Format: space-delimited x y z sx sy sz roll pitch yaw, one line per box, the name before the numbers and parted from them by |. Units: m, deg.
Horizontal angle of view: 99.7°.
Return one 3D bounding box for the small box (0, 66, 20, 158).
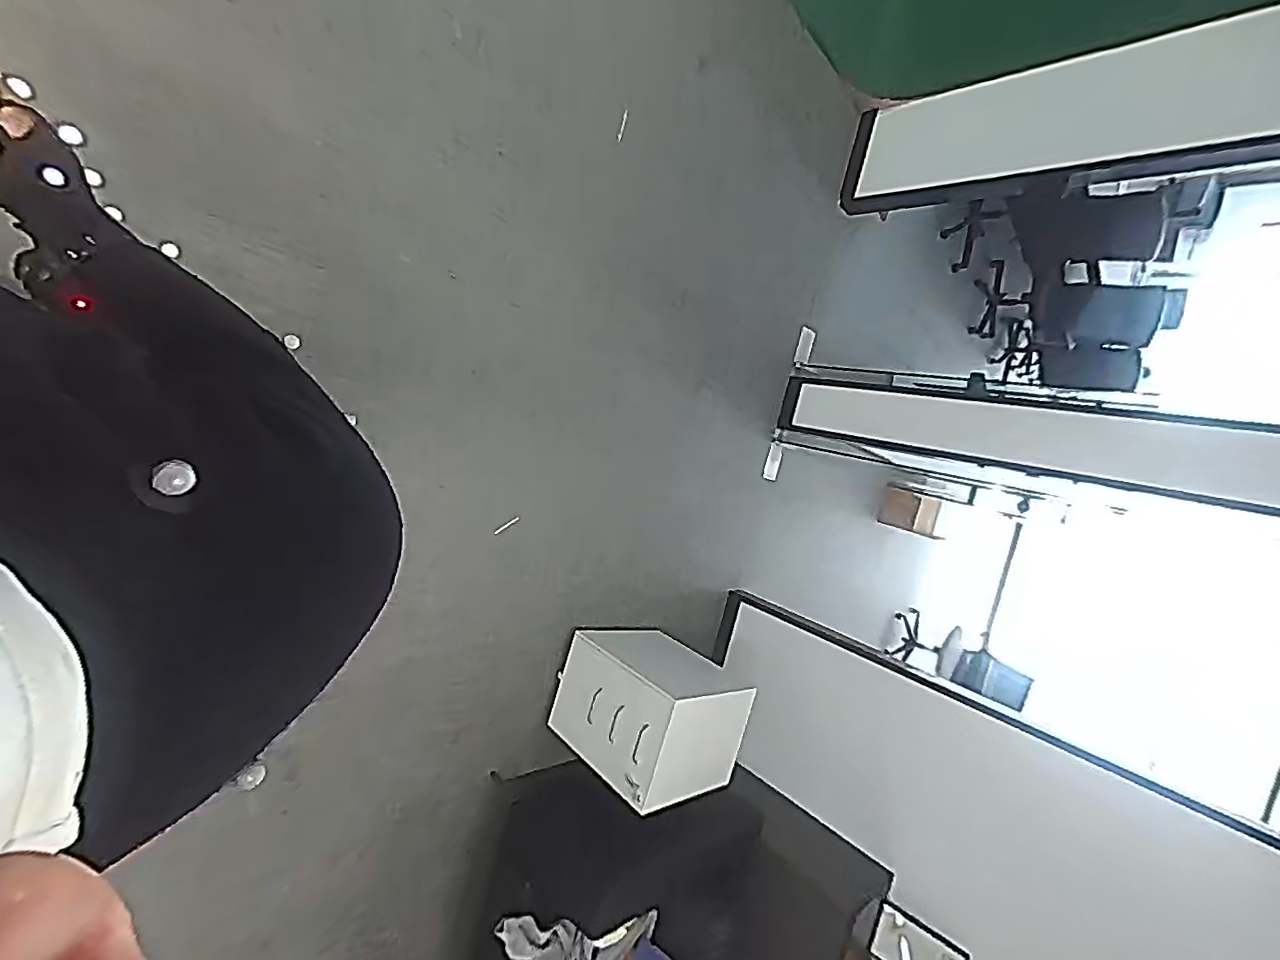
small box | -0.662 -0.384 0.442 0.179 0.176 0.168 -14 110 -44
